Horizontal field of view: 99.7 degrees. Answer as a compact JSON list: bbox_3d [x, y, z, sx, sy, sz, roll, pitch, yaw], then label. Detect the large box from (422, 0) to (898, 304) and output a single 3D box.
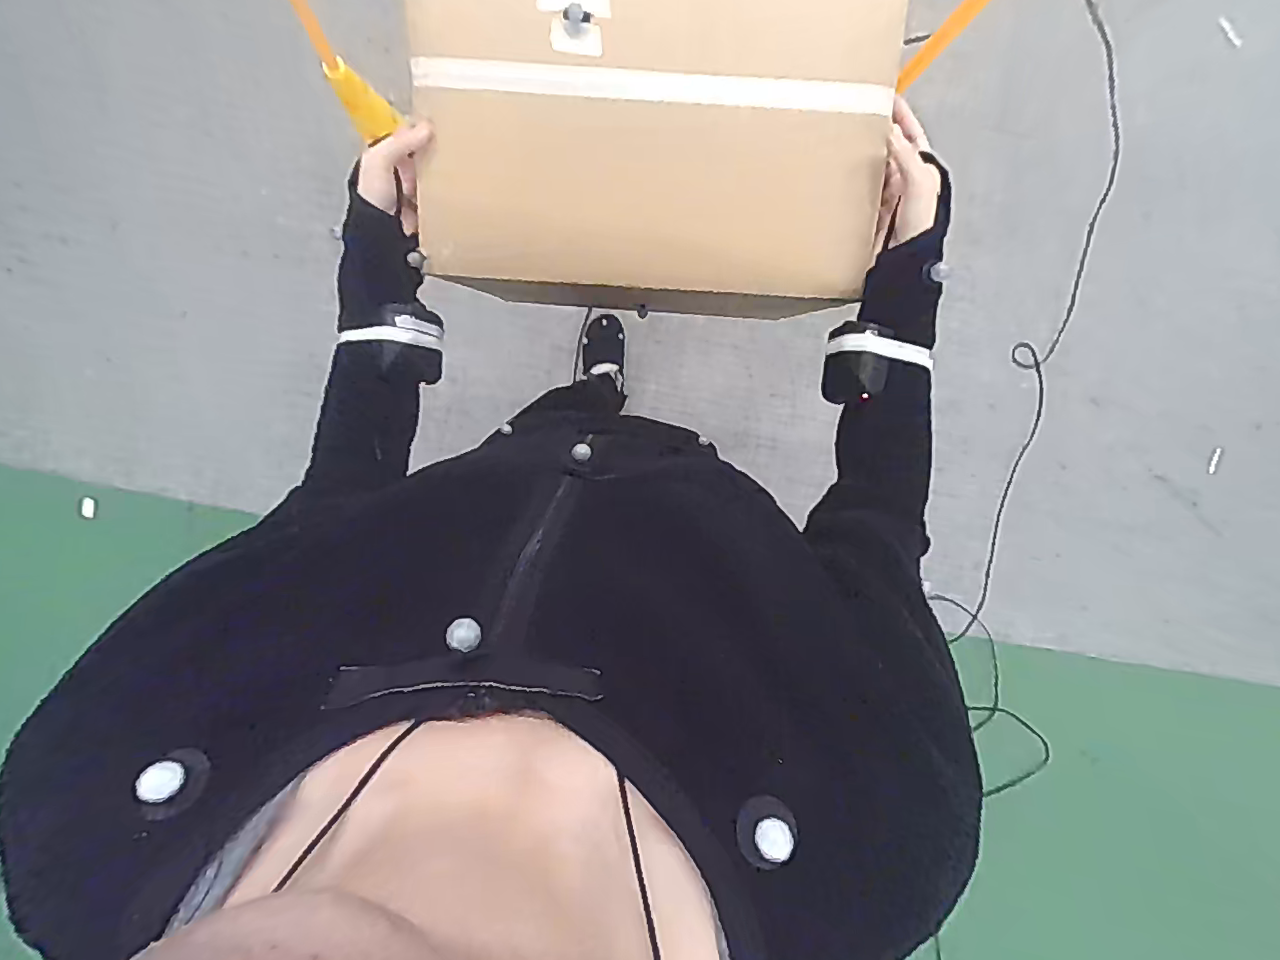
[{"bbox_3d":[0.016,-0.372,0.608,0.408,0.320,0.320,3,103,0],"label":"large box"}]
